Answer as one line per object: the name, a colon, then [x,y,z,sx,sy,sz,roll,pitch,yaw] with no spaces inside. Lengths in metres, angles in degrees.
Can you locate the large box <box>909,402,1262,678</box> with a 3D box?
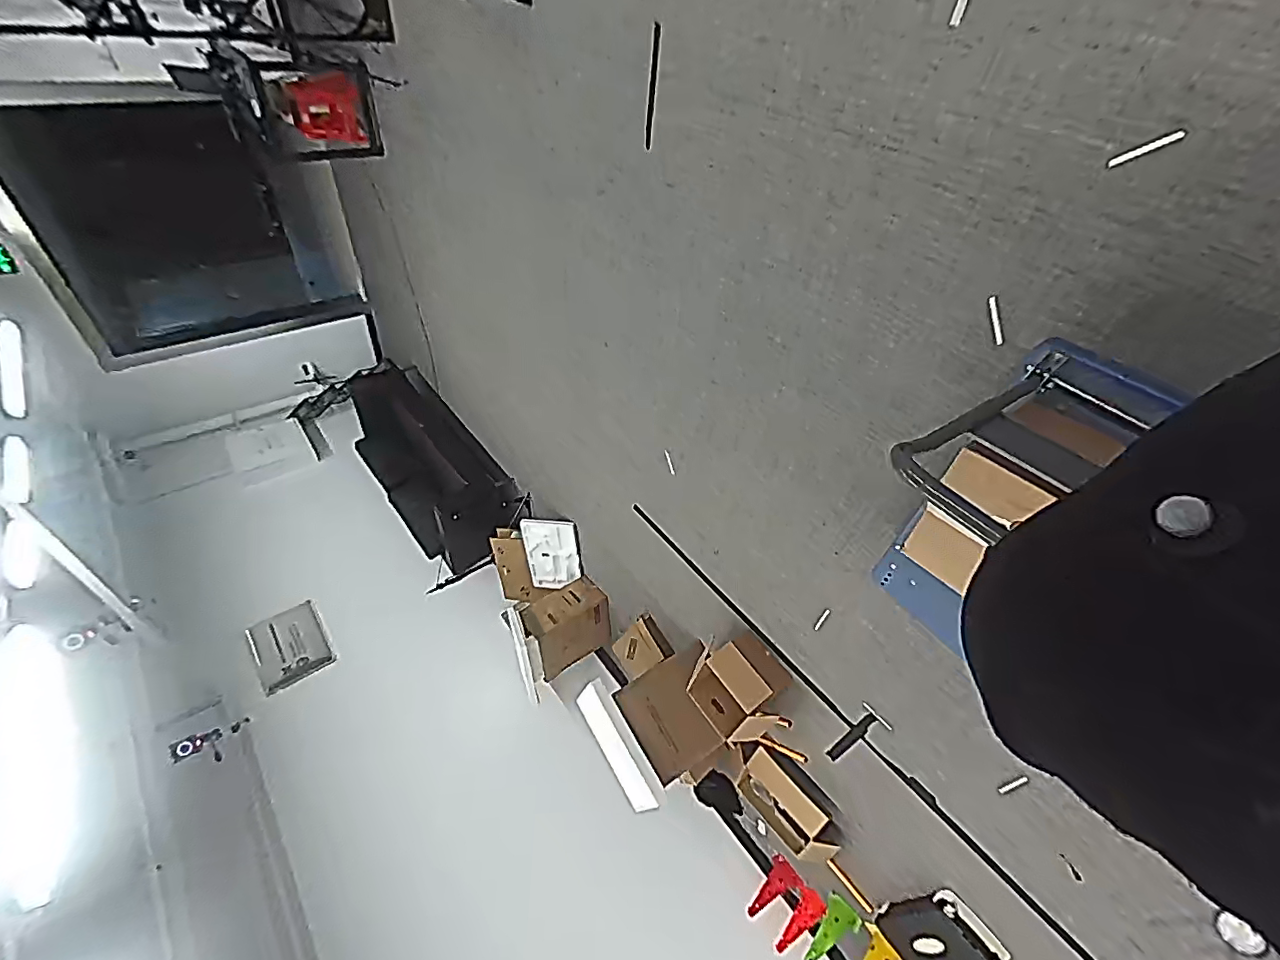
large box: [0.861,0.100,1.094,0.408,0.320,0.320,43,143,34]
